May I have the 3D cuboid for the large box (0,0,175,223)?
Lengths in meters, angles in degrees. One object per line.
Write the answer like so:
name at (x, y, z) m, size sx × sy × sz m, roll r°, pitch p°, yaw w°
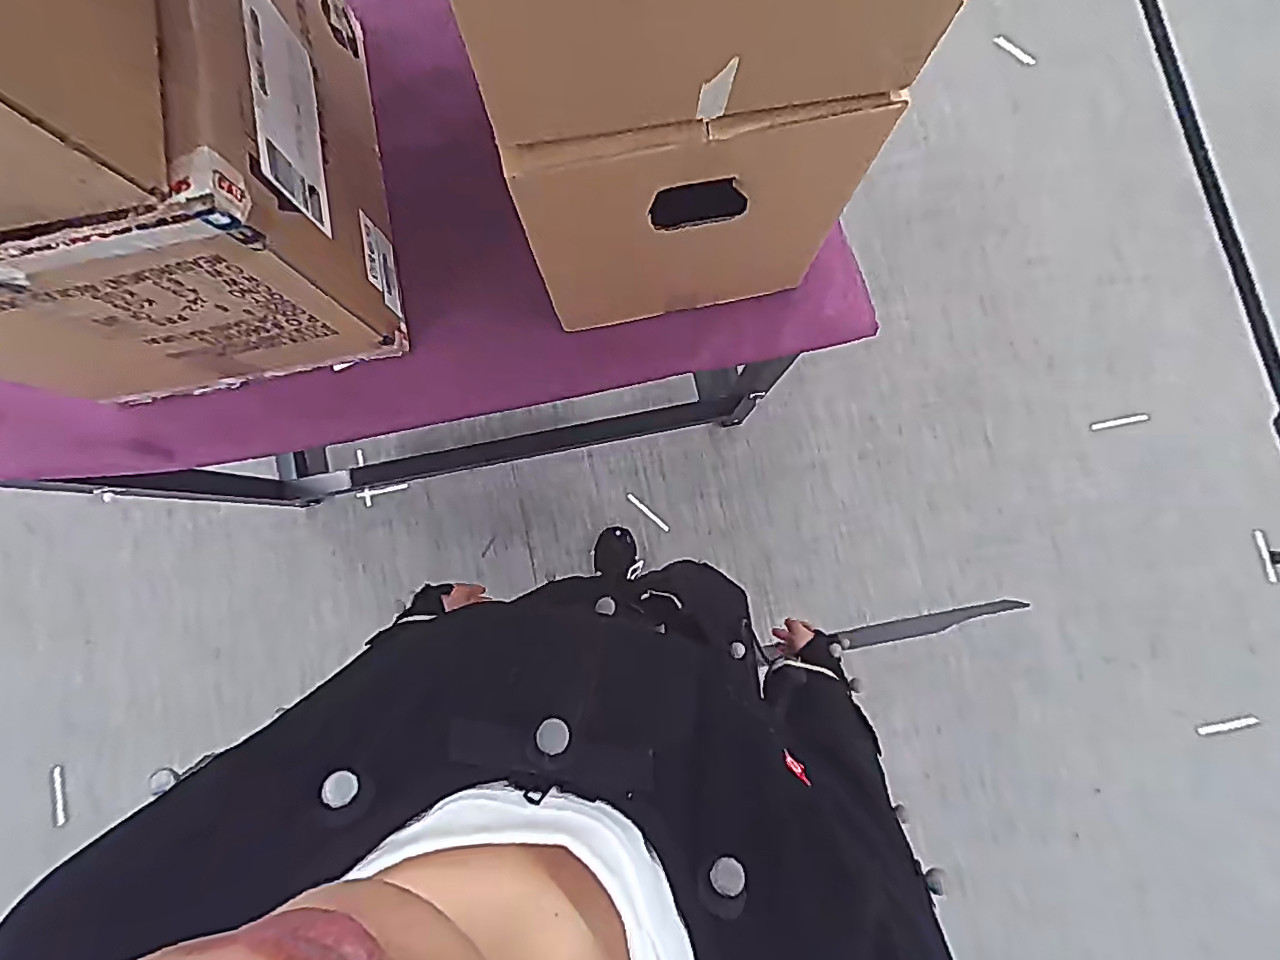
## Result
large box at (-0.520, -0.391, 0.263) m, size 0.320 × 0.320 × 0.408 m, roll -10°, pitch 85°, yaw 3°
